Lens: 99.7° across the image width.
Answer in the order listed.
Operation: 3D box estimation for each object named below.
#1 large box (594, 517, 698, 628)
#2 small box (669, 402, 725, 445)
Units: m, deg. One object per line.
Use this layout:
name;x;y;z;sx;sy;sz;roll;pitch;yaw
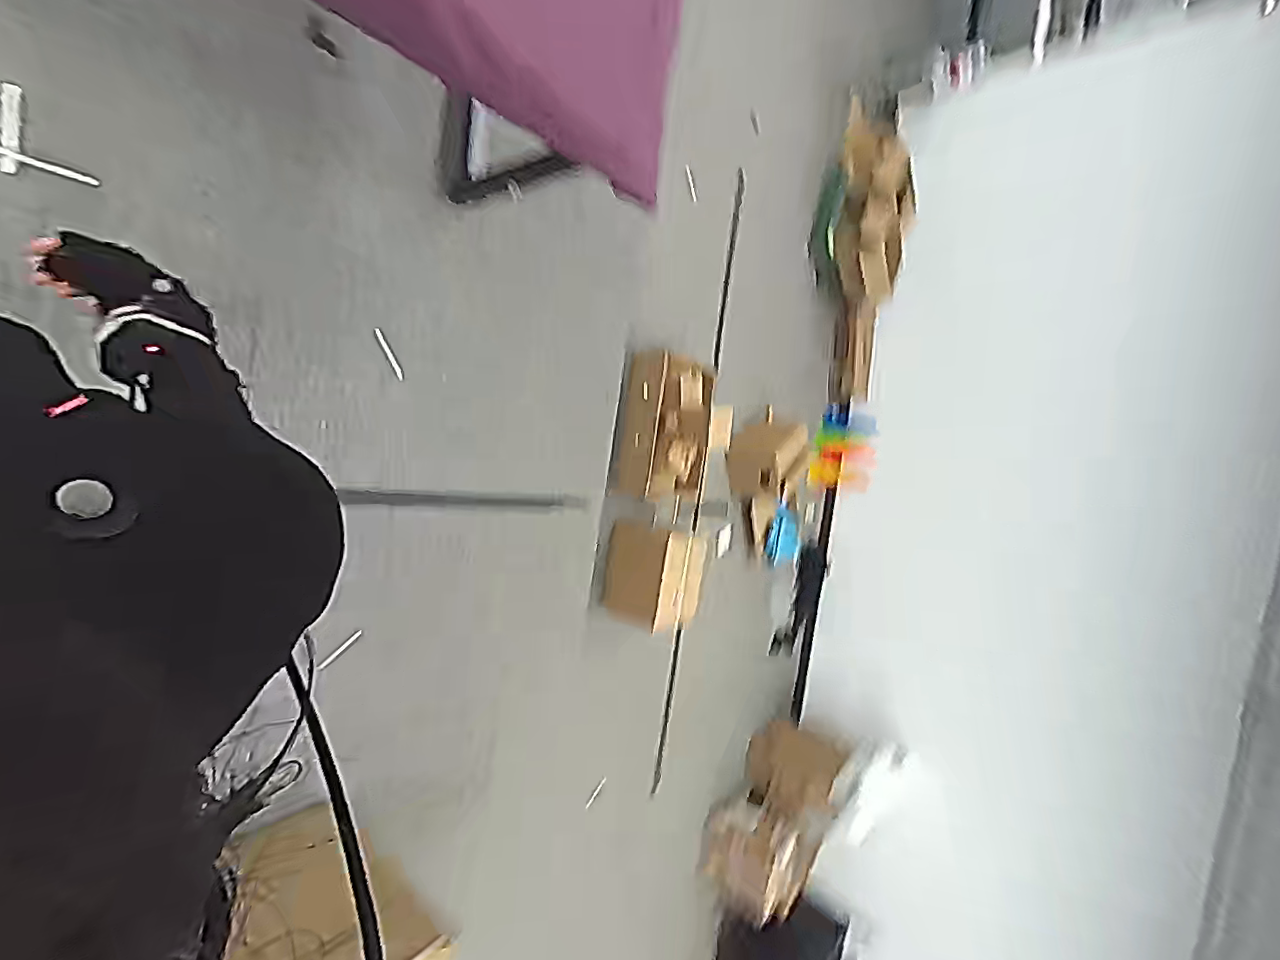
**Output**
large box;0.027;0.397;2.428;0.320;0.320;0.408;4;96;-52
small box;0.240;-0.241;2.301;0.179;0.176;0.168;-8;106;-52
